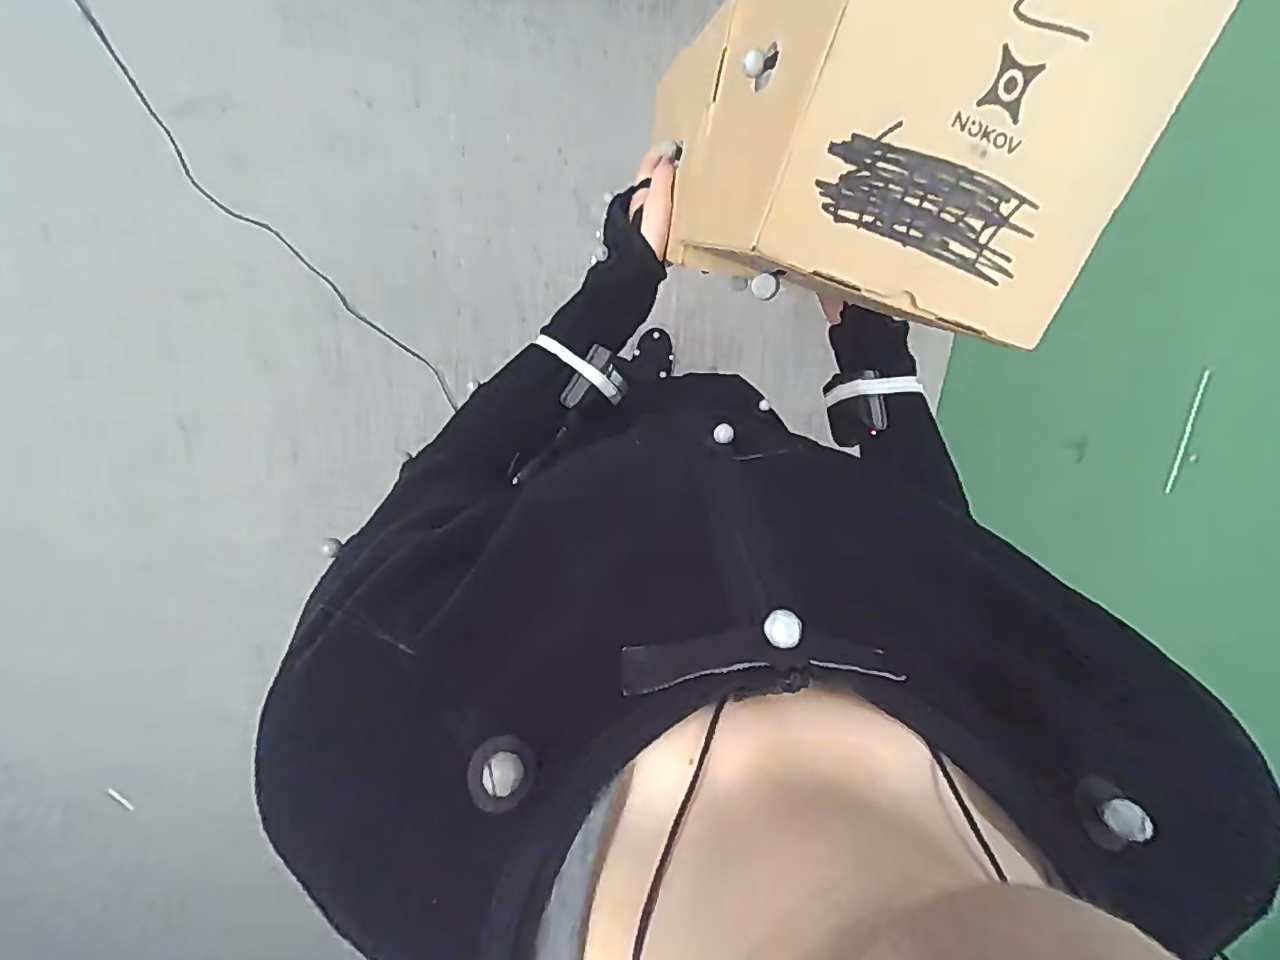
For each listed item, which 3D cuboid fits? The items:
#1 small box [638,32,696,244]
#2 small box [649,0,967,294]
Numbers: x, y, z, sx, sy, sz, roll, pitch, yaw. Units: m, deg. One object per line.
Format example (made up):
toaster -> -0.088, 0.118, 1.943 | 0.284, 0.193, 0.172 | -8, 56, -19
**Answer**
small box -> 0.095, -0.343, 0.593 | 0.168, 0.176, 0.179 | 4, 115, -9
small box -> 0.112, -0.263, 0.450 | 0.179, 0.176, 0.168 | 7, 115, -11
